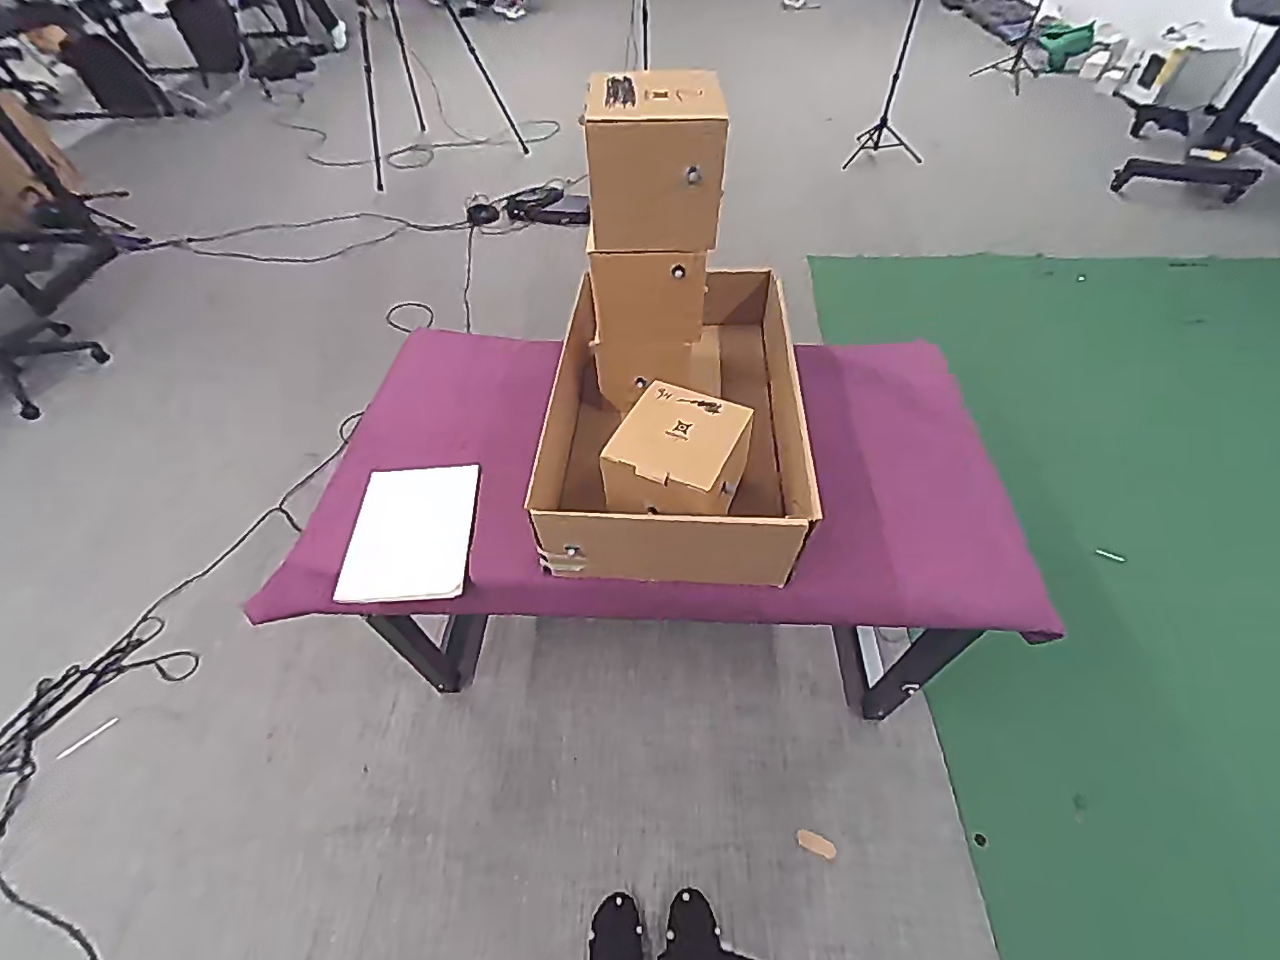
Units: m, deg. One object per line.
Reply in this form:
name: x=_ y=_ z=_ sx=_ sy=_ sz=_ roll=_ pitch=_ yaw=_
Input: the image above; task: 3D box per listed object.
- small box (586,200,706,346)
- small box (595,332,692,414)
small box: x=0.014 y=-0.336 z=0.887 sx=0.179 sy=0.176 sz=0.168 roll=0 pitch=53 yaw=2
small box: x=0.014 y=-0.240 z=1.017 sx=0.168 sy=0.176 sz=0.179 roll=2 pitch=53 yaw=4
